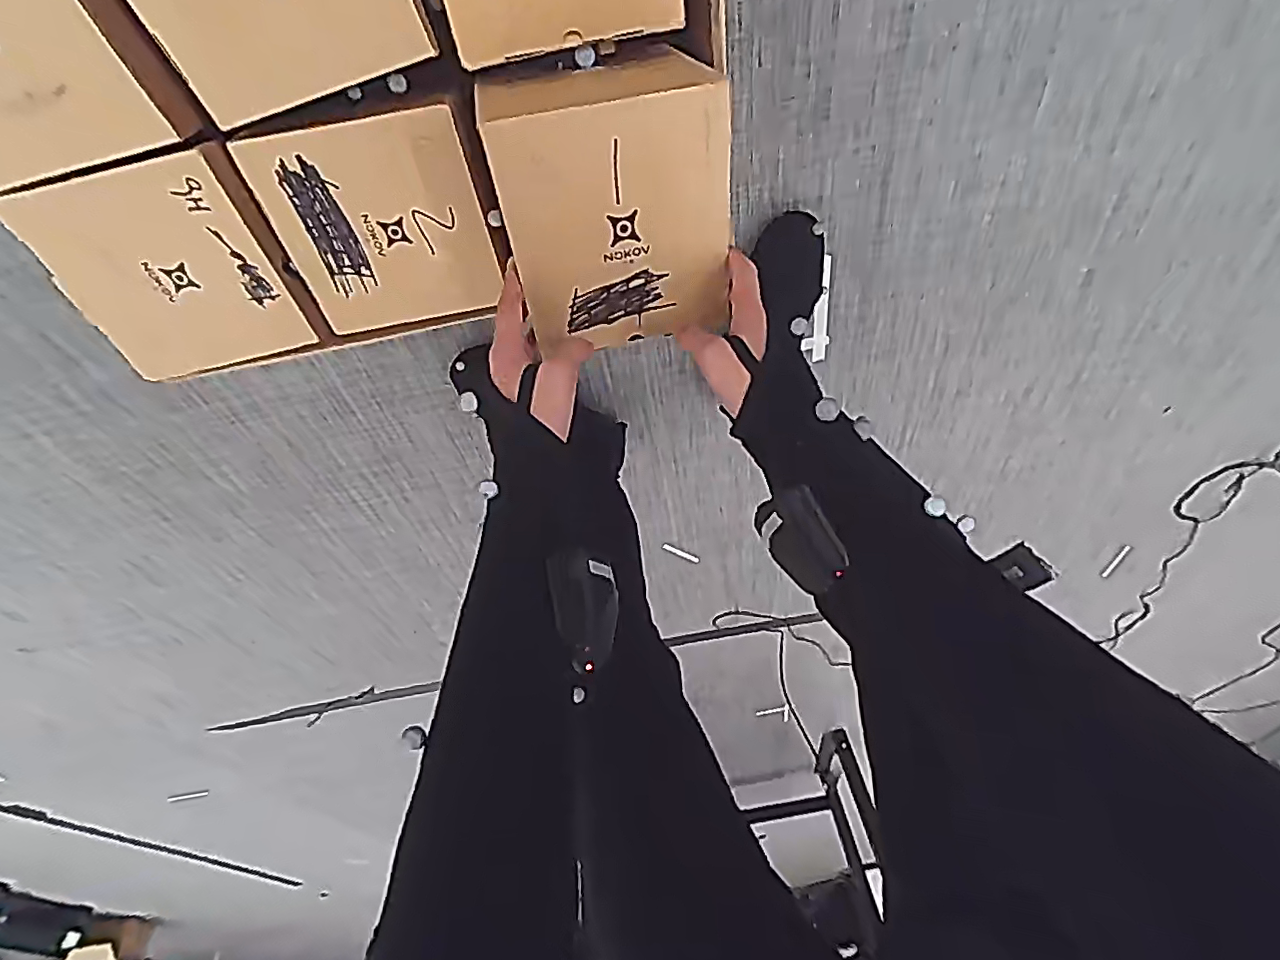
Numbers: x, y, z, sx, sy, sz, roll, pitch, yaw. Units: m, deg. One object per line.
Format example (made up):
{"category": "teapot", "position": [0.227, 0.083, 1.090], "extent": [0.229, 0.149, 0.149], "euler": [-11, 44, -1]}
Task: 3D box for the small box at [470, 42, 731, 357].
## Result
{"category": "small box", "position": [-0.033, -0.232, 0.447], "extent": [0.168, 0.176, 0.179], "euler": [-13, 135, -6]}
